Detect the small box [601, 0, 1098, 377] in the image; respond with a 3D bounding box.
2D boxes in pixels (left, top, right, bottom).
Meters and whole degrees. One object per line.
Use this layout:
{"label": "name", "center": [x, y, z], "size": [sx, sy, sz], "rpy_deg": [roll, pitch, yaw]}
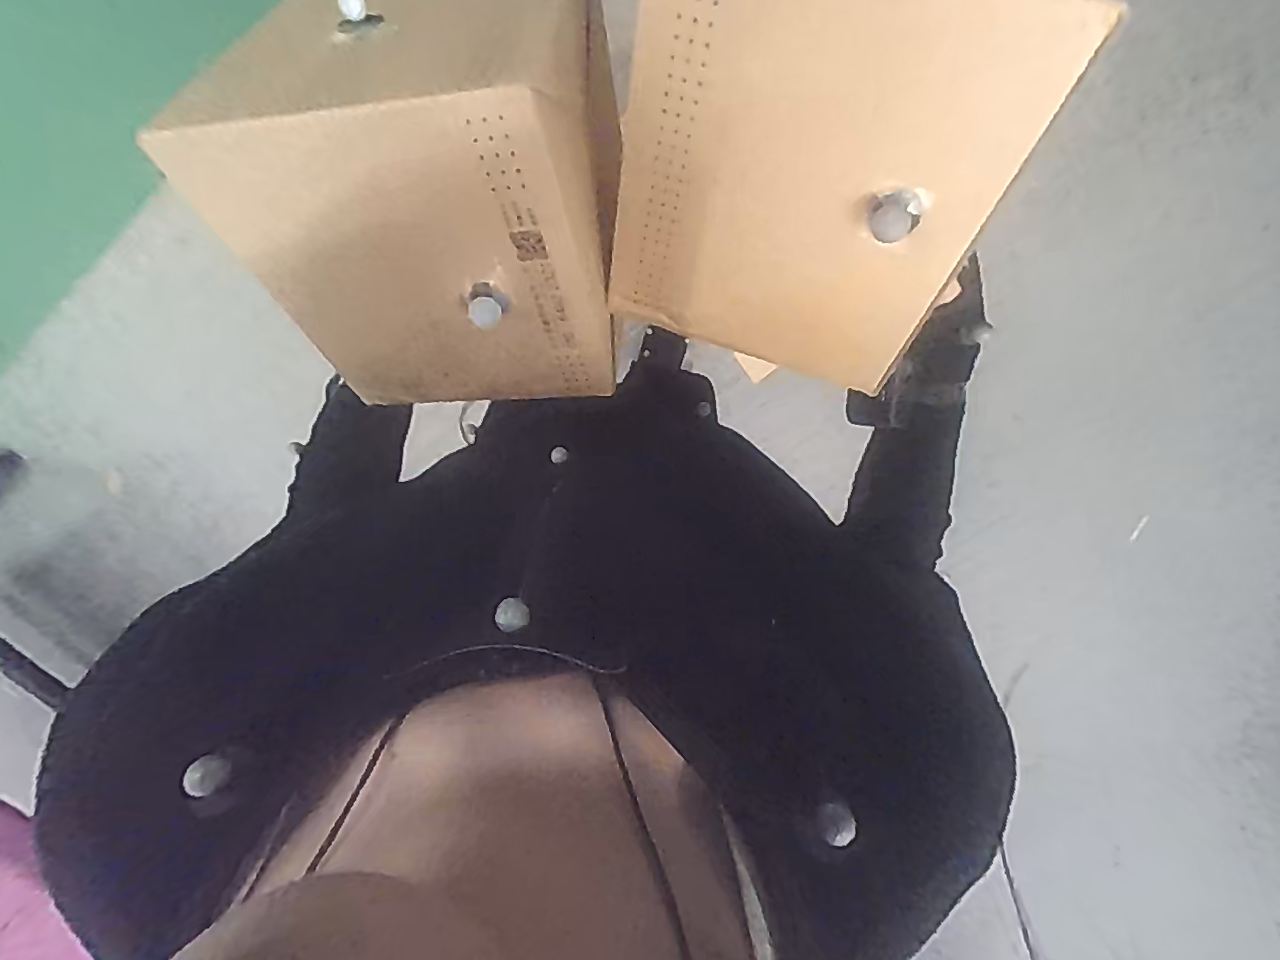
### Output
{"label": "small box", "center": [0.083, -0.191, 0.293], "size": [0.176, 0.168, 0.179], "rpy_deg": [17, 142, 5]}
